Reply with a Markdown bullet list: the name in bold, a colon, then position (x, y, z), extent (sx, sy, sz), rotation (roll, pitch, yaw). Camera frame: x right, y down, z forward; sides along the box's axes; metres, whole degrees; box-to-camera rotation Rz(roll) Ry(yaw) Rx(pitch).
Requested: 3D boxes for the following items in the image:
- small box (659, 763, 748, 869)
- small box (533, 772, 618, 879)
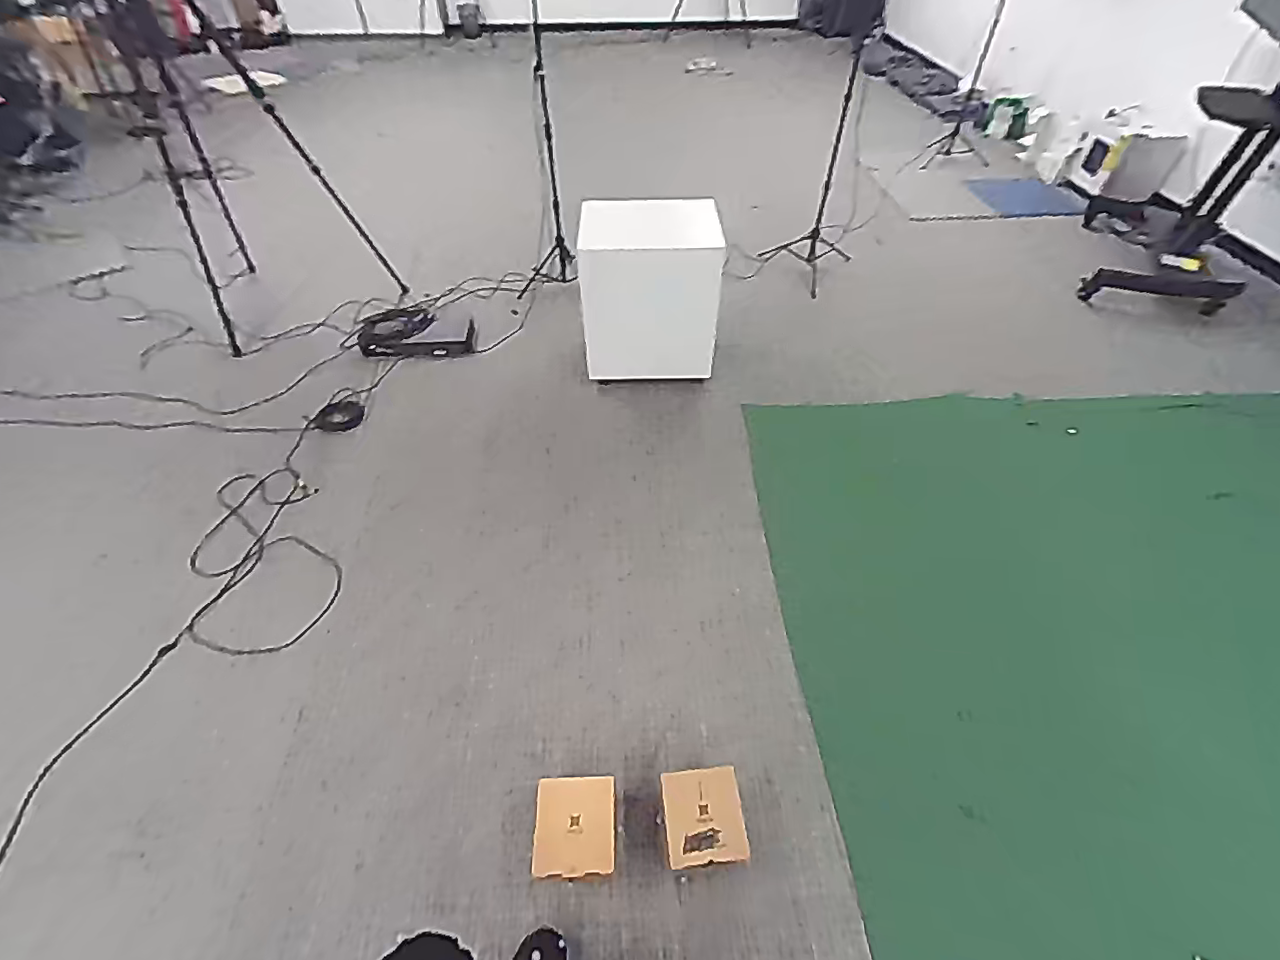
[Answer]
- **small box**: position (0.133, 0.747, 1.196), extent (0.168, 0.176, 0.179), rotation (-4, 49, -3)
- **small box**: position (-0.135, 0.759, 1.187), extent (0.168, 0.176, 0.179), rotation (-1, 50, -1)
